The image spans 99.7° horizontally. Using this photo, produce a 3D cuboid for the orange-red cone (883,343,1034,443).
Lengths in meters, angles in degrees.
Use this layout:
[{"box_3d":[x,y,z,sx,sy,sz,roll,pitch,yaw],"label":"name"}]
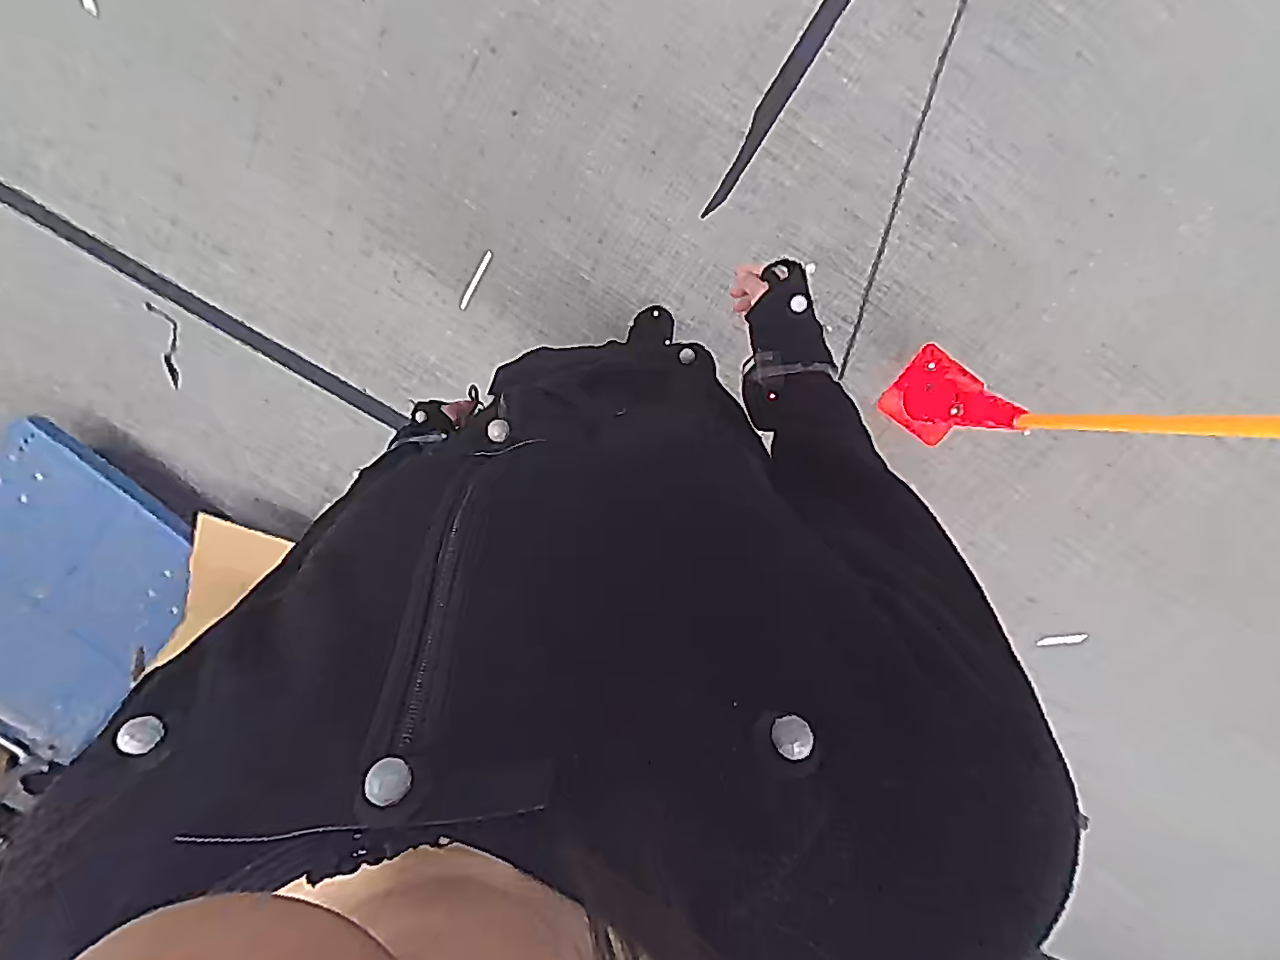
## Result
[{"box_3d":[0.728,-0.163,1.183,0.198,0.360,0.199,35,105,-8],"label":"orange-red cone"}]
